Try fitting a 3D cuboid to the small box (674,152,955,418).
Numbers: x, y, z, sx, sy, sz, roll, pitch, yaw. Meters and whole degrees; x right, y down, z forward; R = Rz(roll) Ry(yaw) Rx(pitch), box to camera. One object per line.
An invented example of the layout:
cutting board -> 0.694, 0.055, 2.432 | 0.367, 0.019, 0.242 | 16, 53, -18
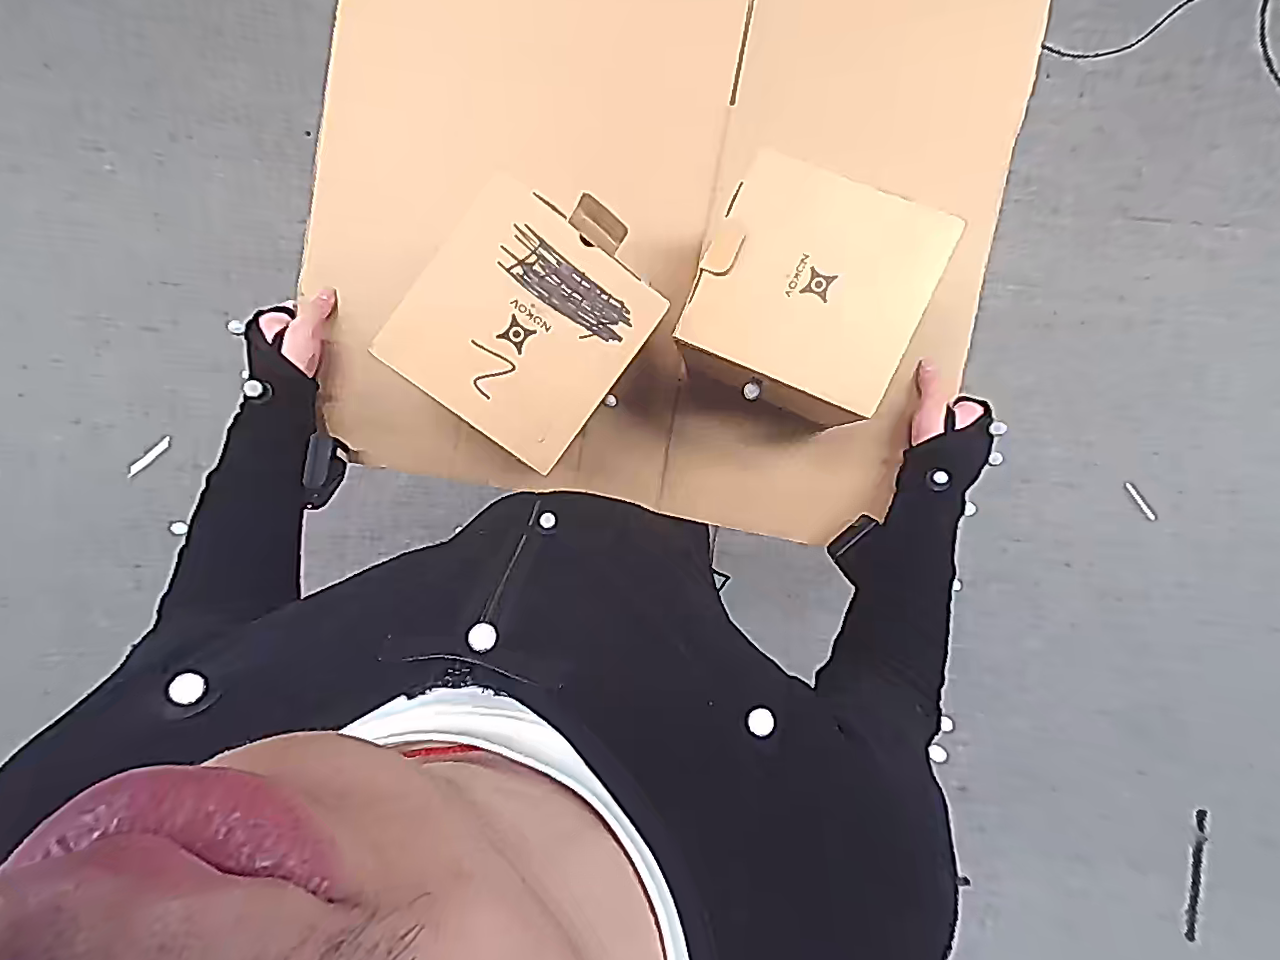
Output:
small box -> 0.152, -0.167, 0.522 | 0.179, 0.176, 0.168 | 25, 97, 8
